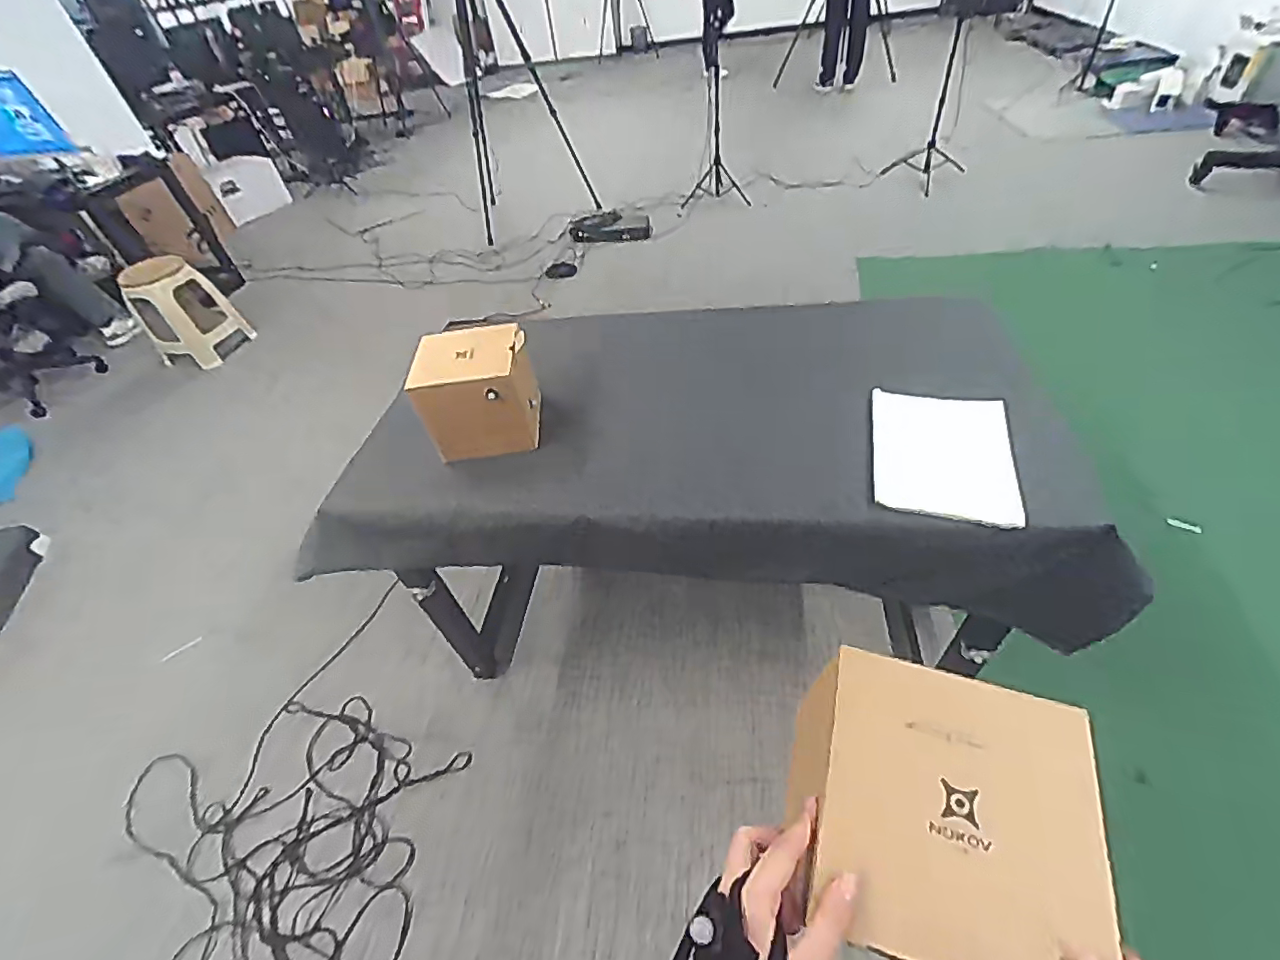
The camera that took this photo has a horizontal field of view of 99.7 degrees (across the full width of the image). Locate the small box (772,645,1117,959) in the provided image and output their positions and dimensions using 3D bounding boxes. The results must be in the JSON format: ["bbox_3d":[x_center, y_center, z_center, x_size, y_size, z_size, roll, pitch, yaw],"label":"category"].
[{"bbox_3d":[0.201,0.255,0.403,0.168,0.176,0.179,13,54,12],"label":"small box"}]

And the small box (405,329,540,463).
[{"bbox_3d":[-0.287,-0.146,0.970,0.179,0.176,0.168,-8,44,0],"label":"small box"}]
